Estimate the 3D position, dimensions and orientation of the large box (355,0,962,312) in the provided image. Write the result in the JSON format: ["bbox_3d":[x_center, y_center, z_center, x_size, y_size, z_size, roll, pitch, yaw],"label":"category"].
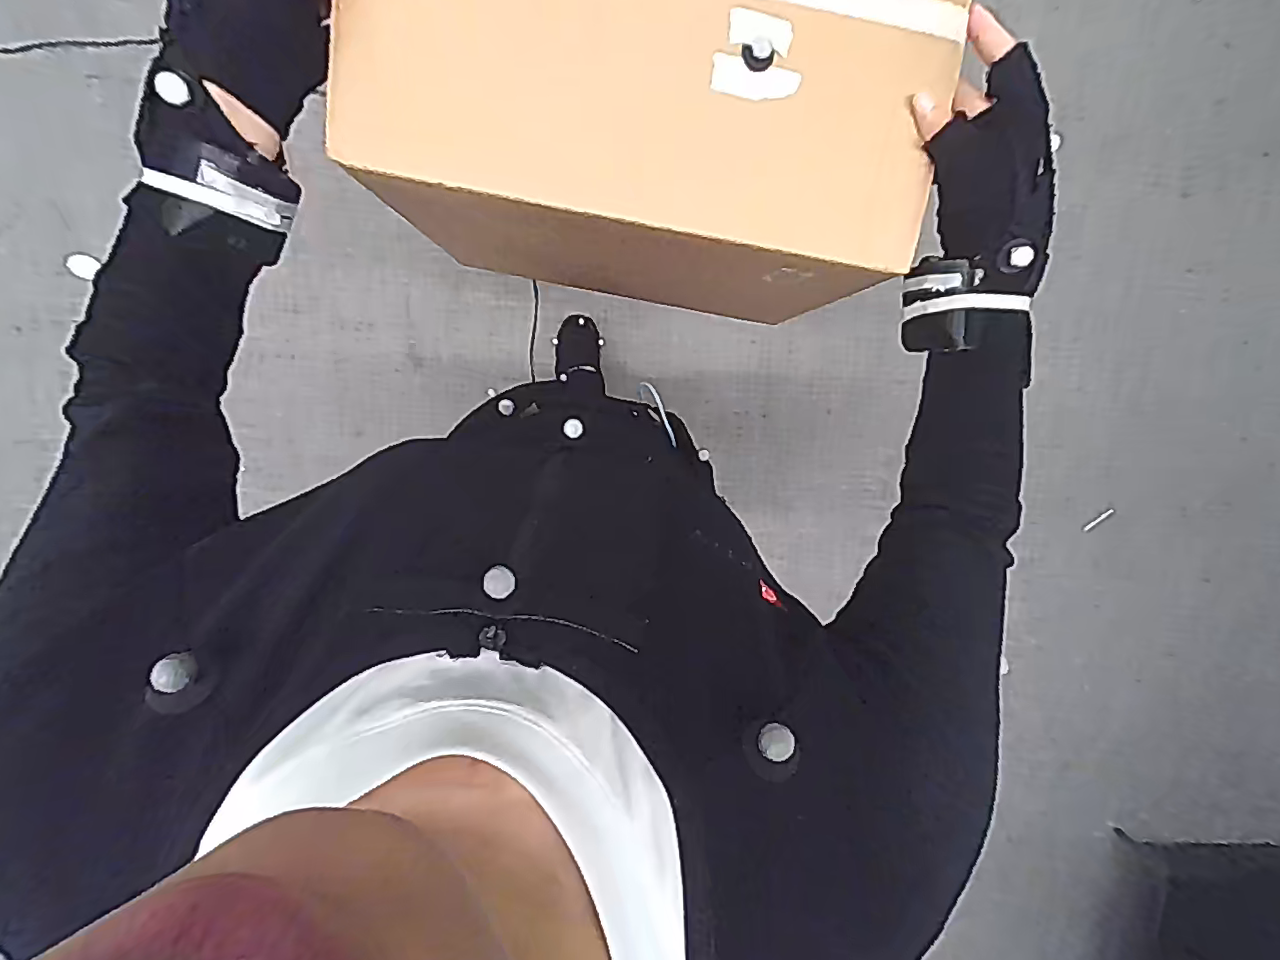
[{"bbox_3d":[0.013,-0.364,0.505,0.408,0.320,0.320,9,100,-5],"label":"large box"}]
